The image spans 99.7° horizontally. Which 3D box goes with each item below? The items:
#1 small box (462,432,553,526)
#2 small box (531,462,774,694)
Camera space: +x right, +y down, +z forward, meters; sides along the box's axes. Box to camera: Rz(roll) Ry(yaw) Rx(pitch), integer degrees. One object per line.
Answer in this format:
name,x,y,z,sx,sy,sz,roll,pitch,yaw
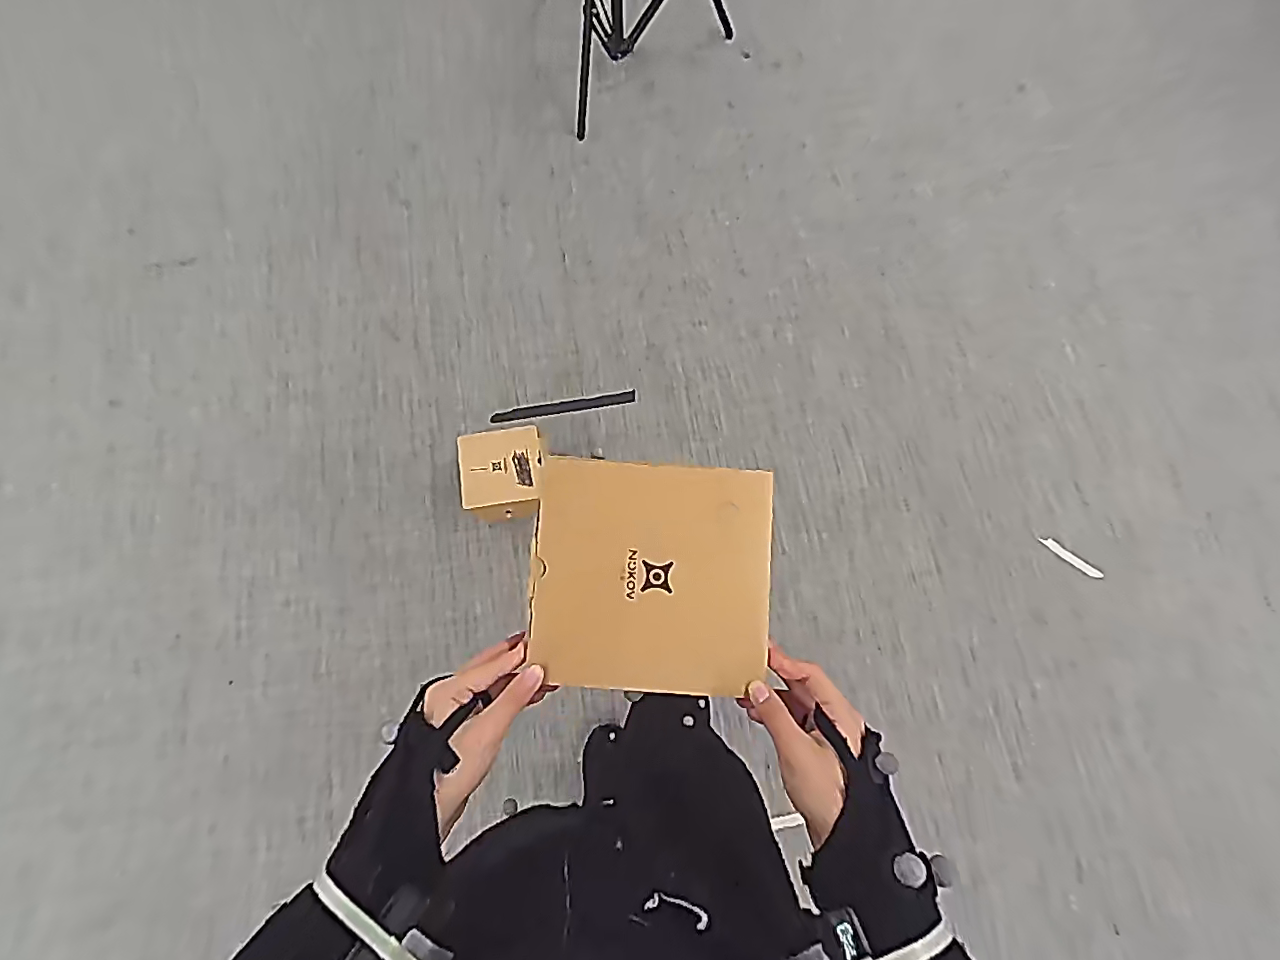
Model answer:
small box,-0.289,0.003,1.231,0.179,0.176,0.168,-8,76,-1
small box,0.013,0.079,0.483,0.179,0.176,0.168,3,84,3
